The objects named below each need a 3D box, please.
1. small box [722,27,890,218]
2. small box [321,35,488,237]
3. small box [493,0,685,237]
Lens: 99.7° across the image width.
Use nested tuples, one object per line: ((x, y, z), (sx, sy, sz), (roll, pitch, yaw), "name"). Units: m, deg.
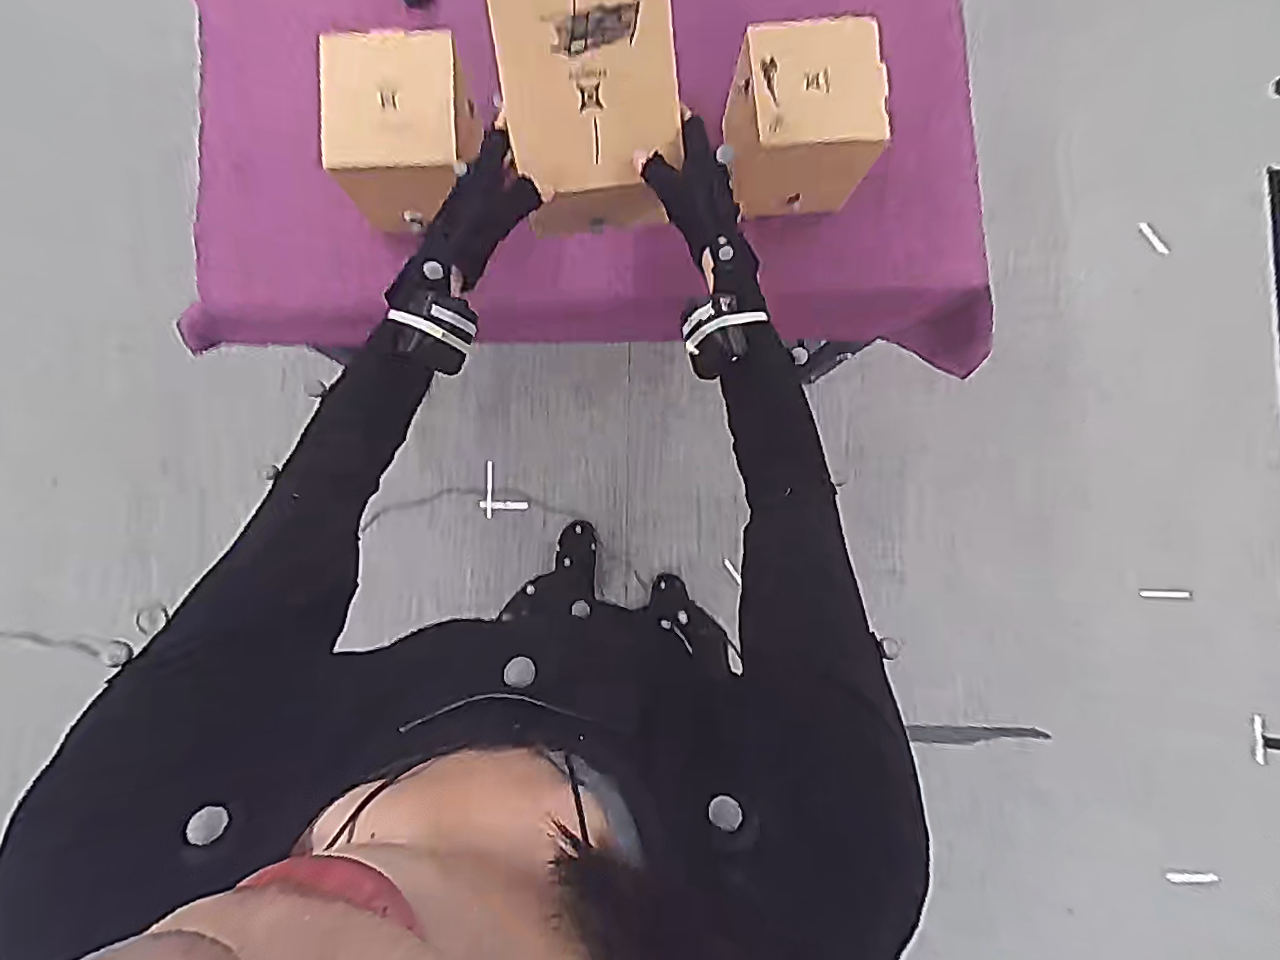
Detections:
((0.227, -0.501, 0.778), (0.179, 0.176, 0.168), (-5, 86, -4), "small box")
((-0.313, -0.463, 0.748), (0.168, 0.176, 0.179), (-3, 87, -2), "small box")
((-0.051, -0.383, 0.585), (0.168, 0.176, 0.179), (-7, 101, -2), "small box")
